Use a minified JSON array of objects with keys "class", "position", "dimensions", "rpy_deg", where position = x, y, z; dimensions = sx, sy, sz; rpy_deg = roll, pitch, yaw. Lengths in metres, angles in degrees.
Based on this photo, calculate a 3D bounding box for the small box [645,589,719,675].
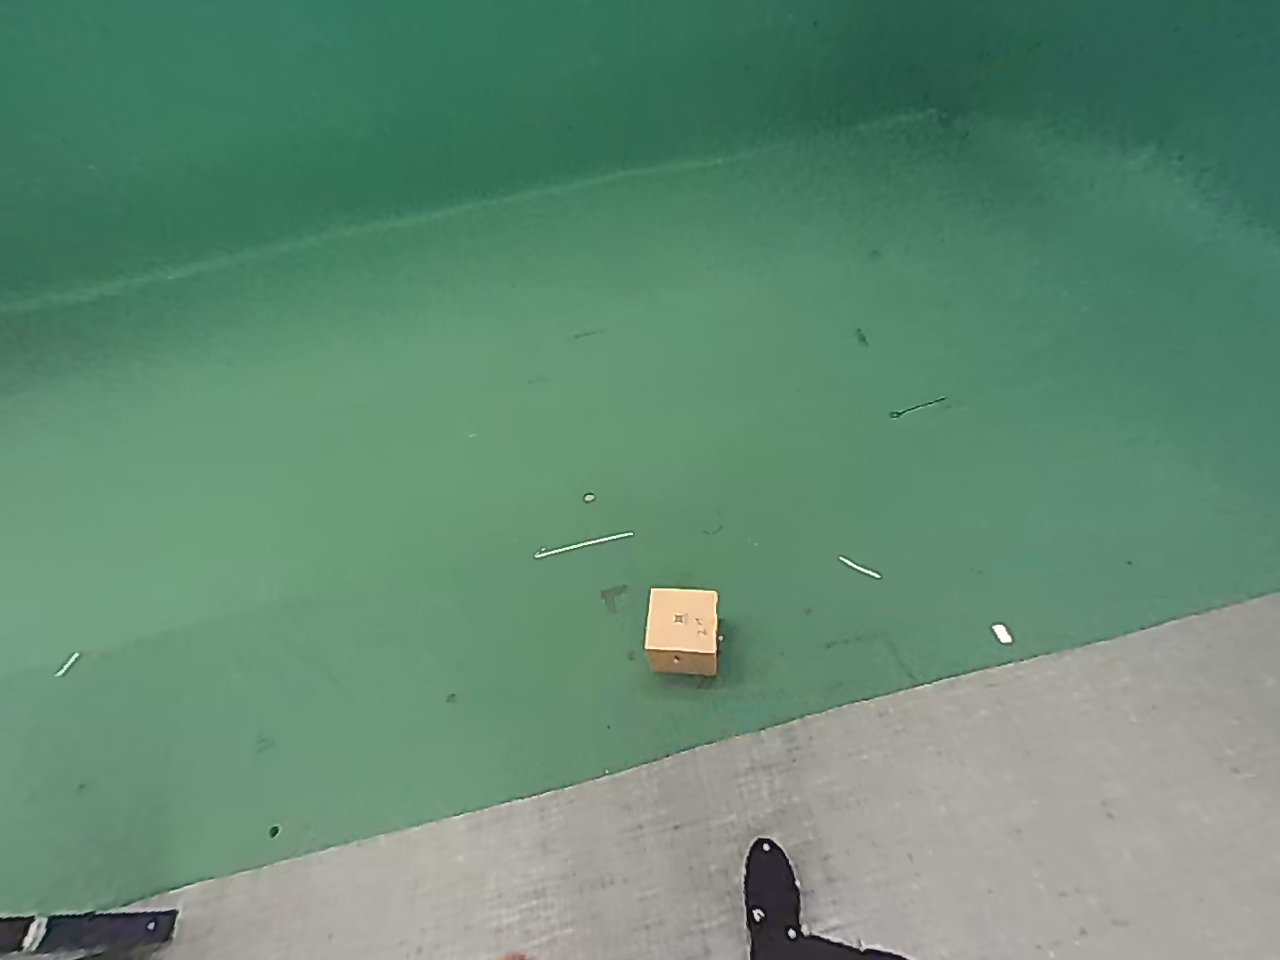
[{"class":"small box","position":[0.115,0.398,1.407],"dimensions":[0.179,0.176,0.168],"rpy_deg":[2,53,8]}]
